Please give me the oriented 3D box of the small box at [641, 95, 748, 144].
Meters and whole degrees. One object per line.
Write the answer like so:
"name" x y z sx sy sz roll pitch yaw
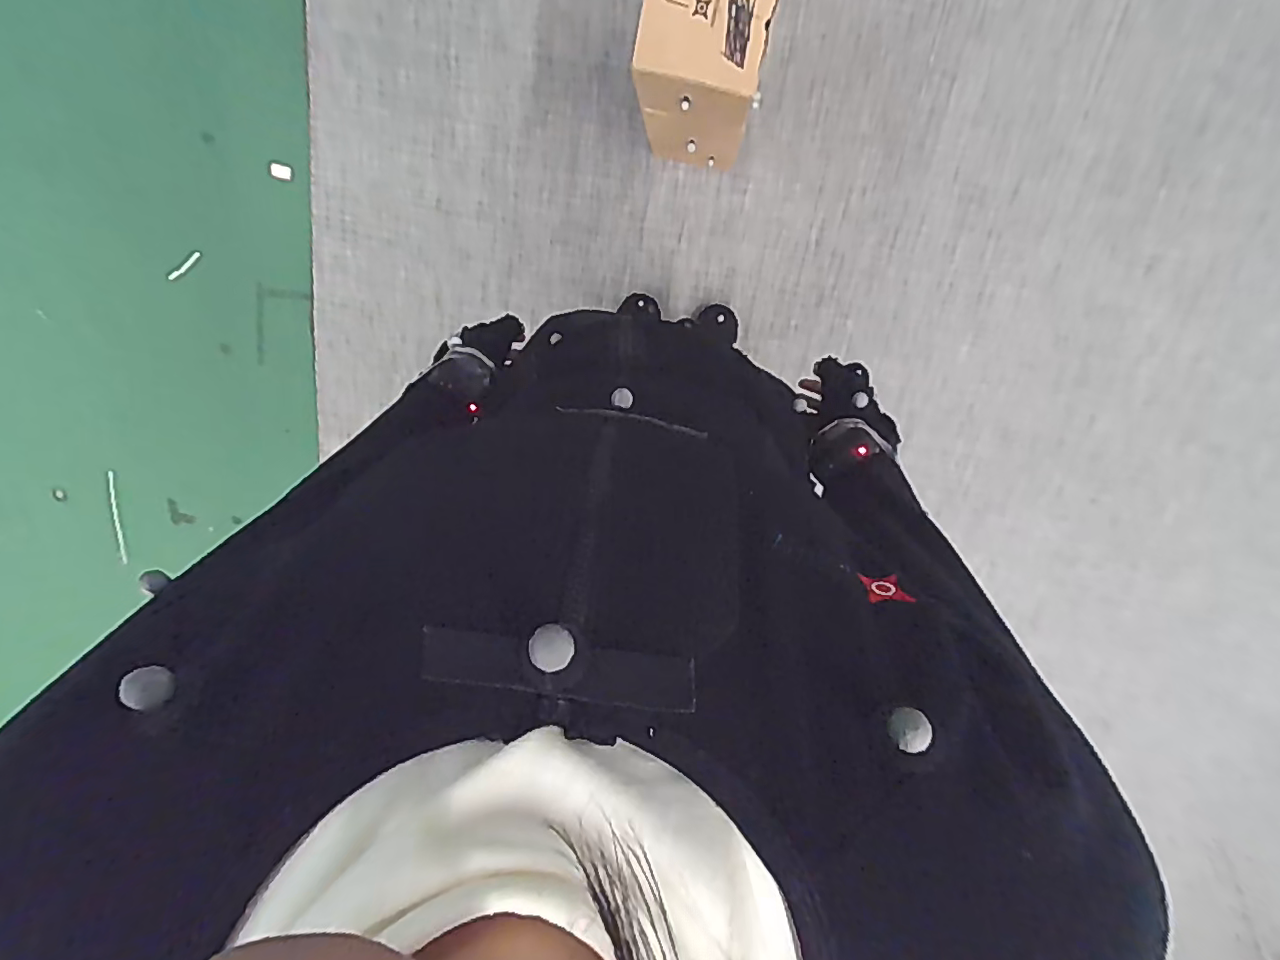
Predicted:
"small box" 0.108 -0.712 0.949 0.179 0.176 0.168 13 110 0

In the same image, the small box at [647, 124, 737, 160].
"small box" 0.120 -0.770 1.102 0.179 0.176 0.168 12 110 3

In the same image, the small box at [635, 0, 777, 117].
"small box" 0.096 -0.659 0.794 0.179 0.176 0.168 11 110 0
